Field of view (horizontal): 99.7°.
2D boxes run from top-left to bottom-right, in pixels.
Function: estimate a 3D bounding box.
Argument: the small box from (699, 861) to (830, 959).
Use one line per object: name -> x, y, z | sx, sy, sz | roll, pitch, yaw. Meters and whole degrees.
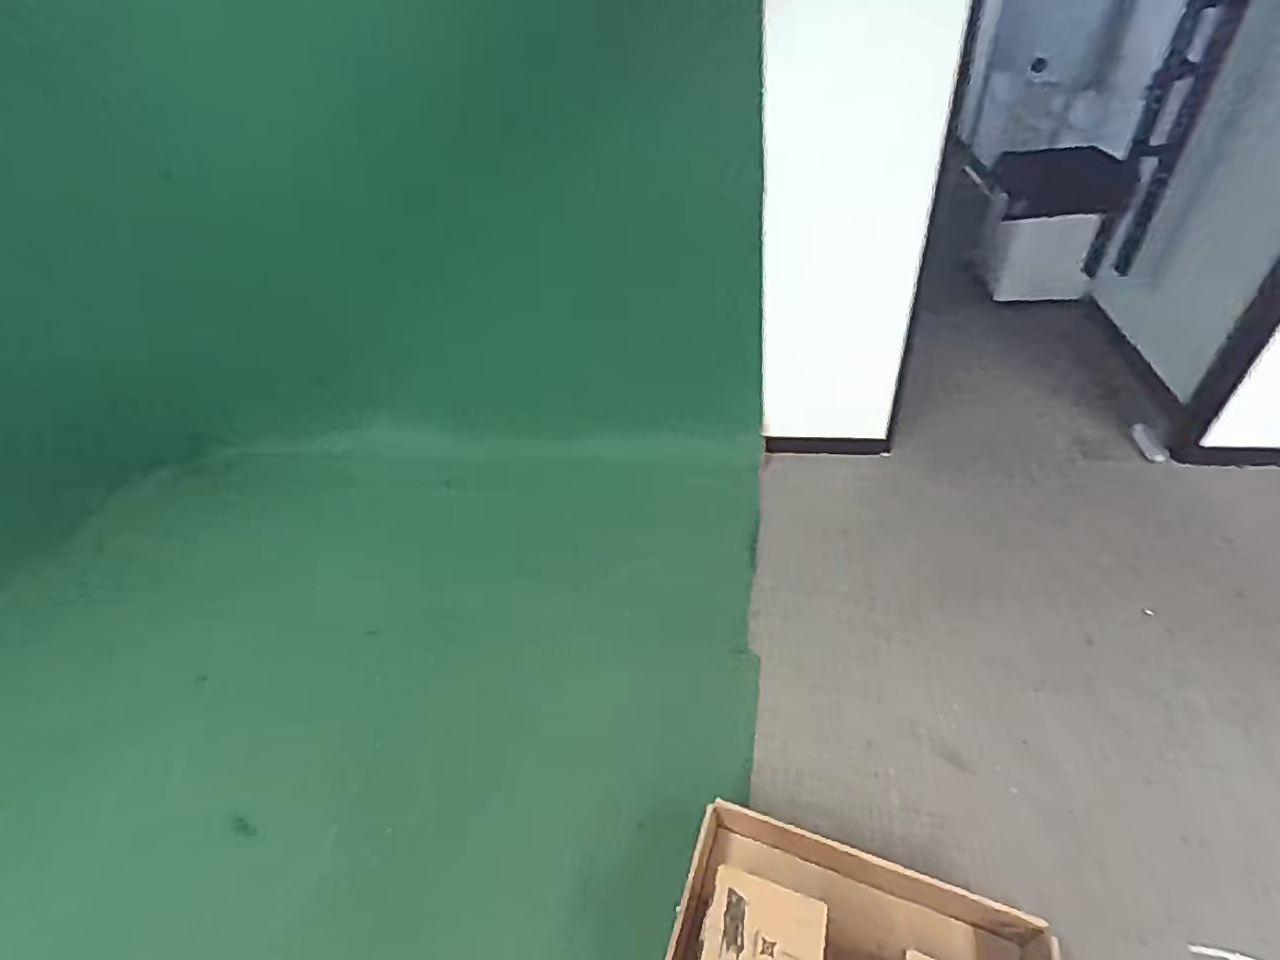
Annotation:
small box -> 0.200, 0.763, 0.877 | 0.179, 0.176, 0.168 | 9, 45, 19
